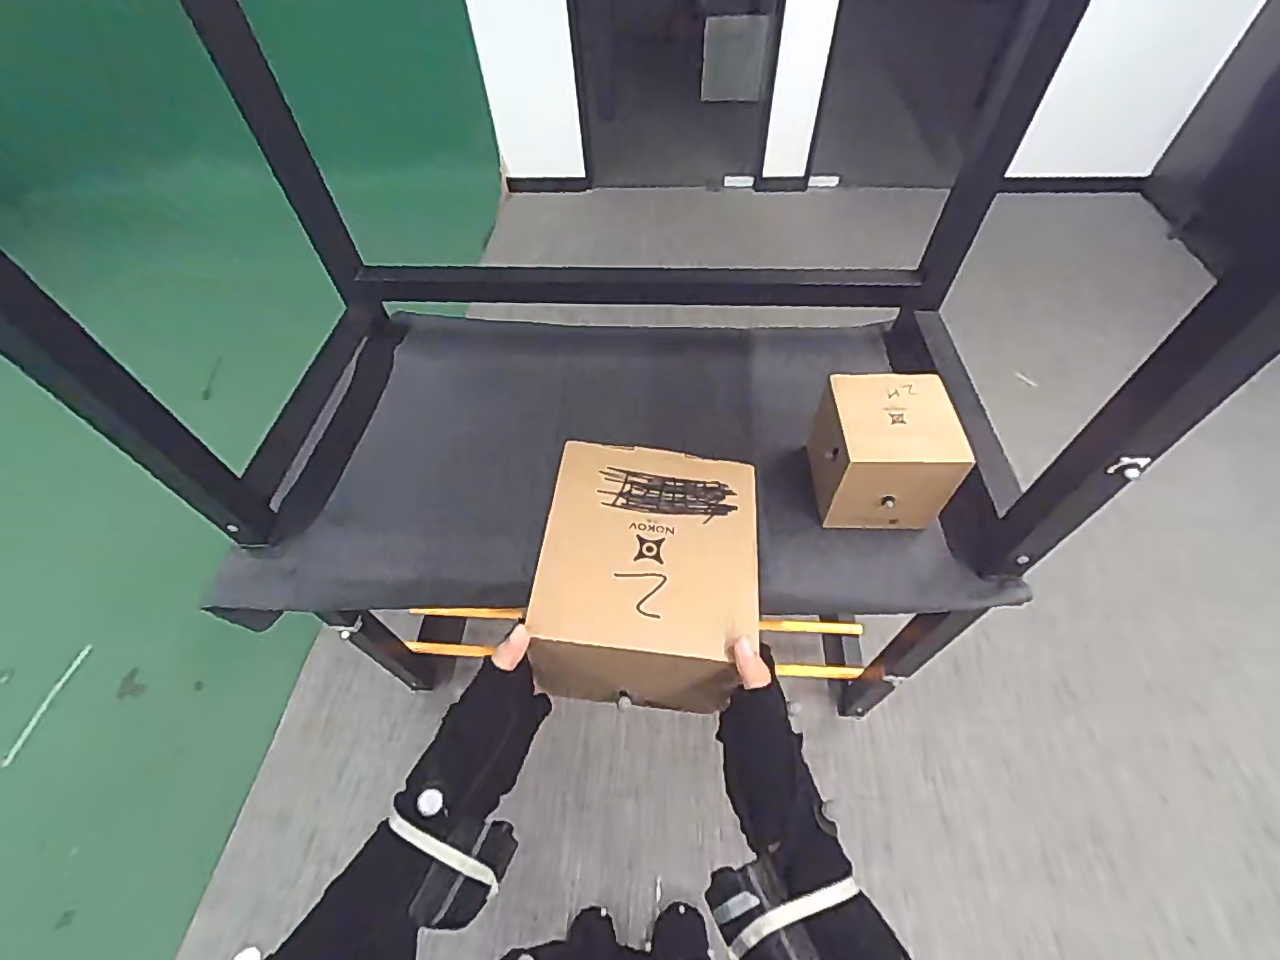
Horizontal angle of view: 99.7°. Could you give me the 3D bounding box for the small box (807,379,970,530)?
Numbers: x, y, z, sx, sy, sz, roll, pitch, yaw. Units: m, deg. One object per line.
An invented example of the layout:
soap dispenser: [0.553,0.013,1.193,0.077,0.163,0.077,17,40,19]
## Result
small box: [0.366,-0.036,0.836,0.168,0.176,0.179,1,52,3]
